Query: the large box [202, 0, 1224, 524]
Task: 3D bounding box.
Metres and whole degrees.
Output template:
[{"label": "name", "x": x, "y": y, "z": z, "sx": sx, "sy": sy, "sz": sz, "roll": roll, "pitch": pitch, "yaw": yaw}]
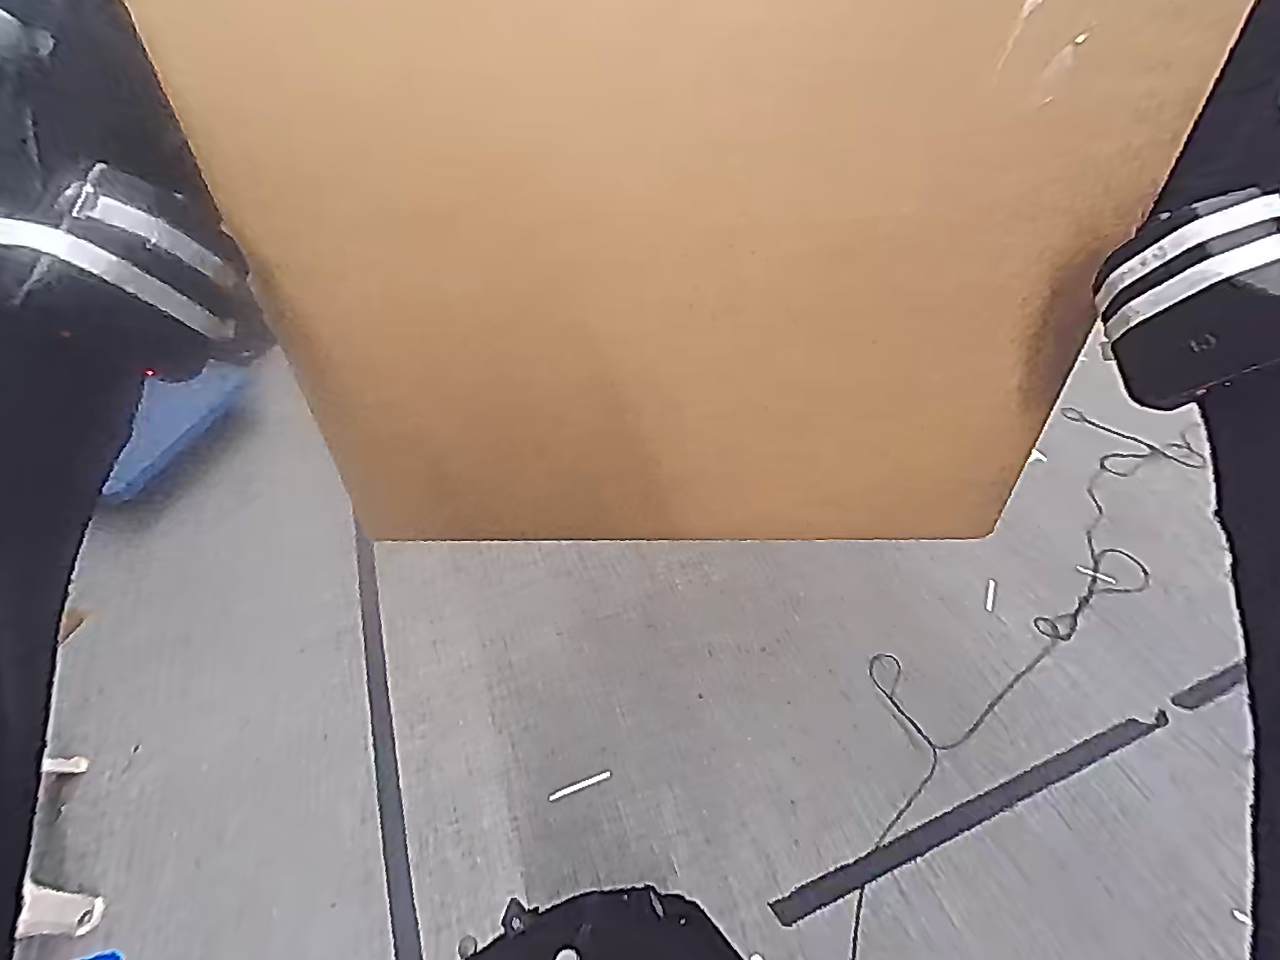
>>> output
[{"label": "large box", "x": 0.028, "y": -0.178, "z": 0.392, "sx": 0.408, "sy": 0.320, "sz": 0.320, "roll": 0, "pitch": 37, "yaw": 1}]
